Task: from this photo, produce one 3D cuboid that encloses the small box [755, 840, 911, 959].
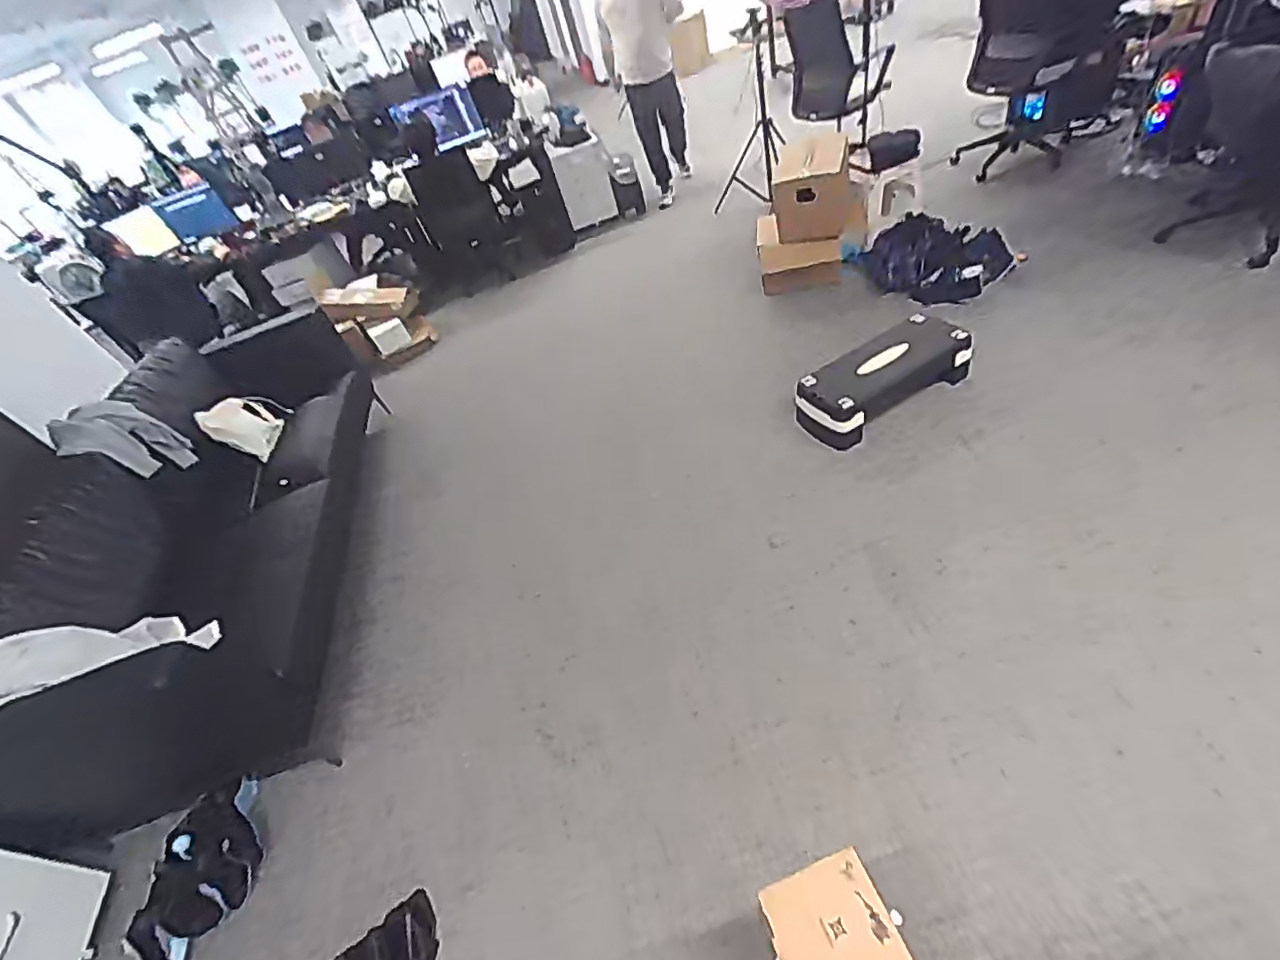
[{"bbox_3d":[0.312,0.725,0.874,0.179,0.176,0.168,-25,42,-1],"label":"small box"}]
